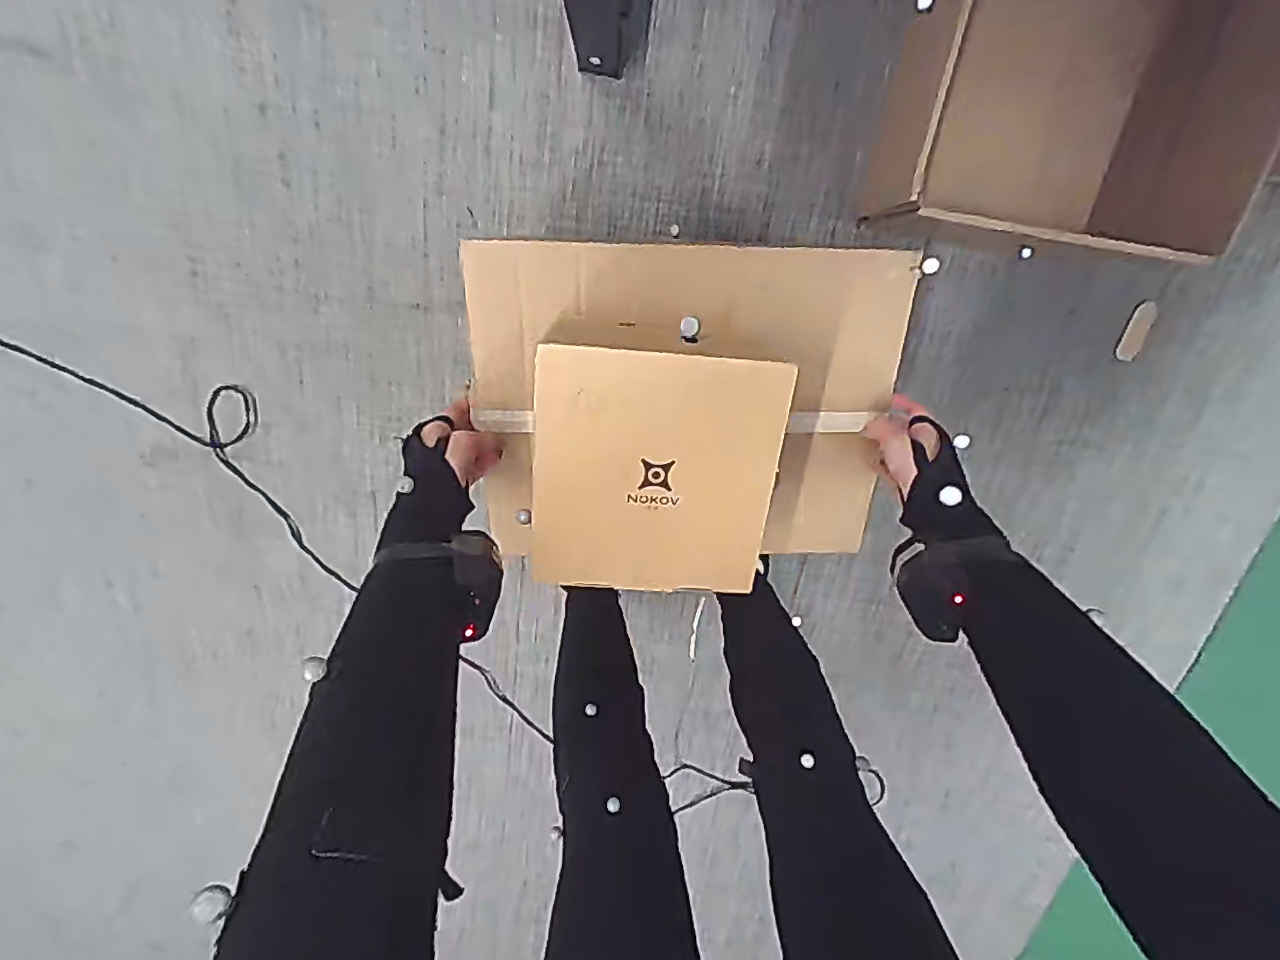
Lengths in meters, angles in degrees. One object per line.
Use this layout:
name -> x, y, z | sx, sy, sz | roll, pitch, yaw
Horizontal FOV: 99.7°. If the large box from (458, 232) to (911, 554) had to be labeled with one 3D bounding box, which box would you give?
large box -> 0.031, -0.125, 0.660 | 0.408, 0.320, 0.320 | -1, 115, -4
